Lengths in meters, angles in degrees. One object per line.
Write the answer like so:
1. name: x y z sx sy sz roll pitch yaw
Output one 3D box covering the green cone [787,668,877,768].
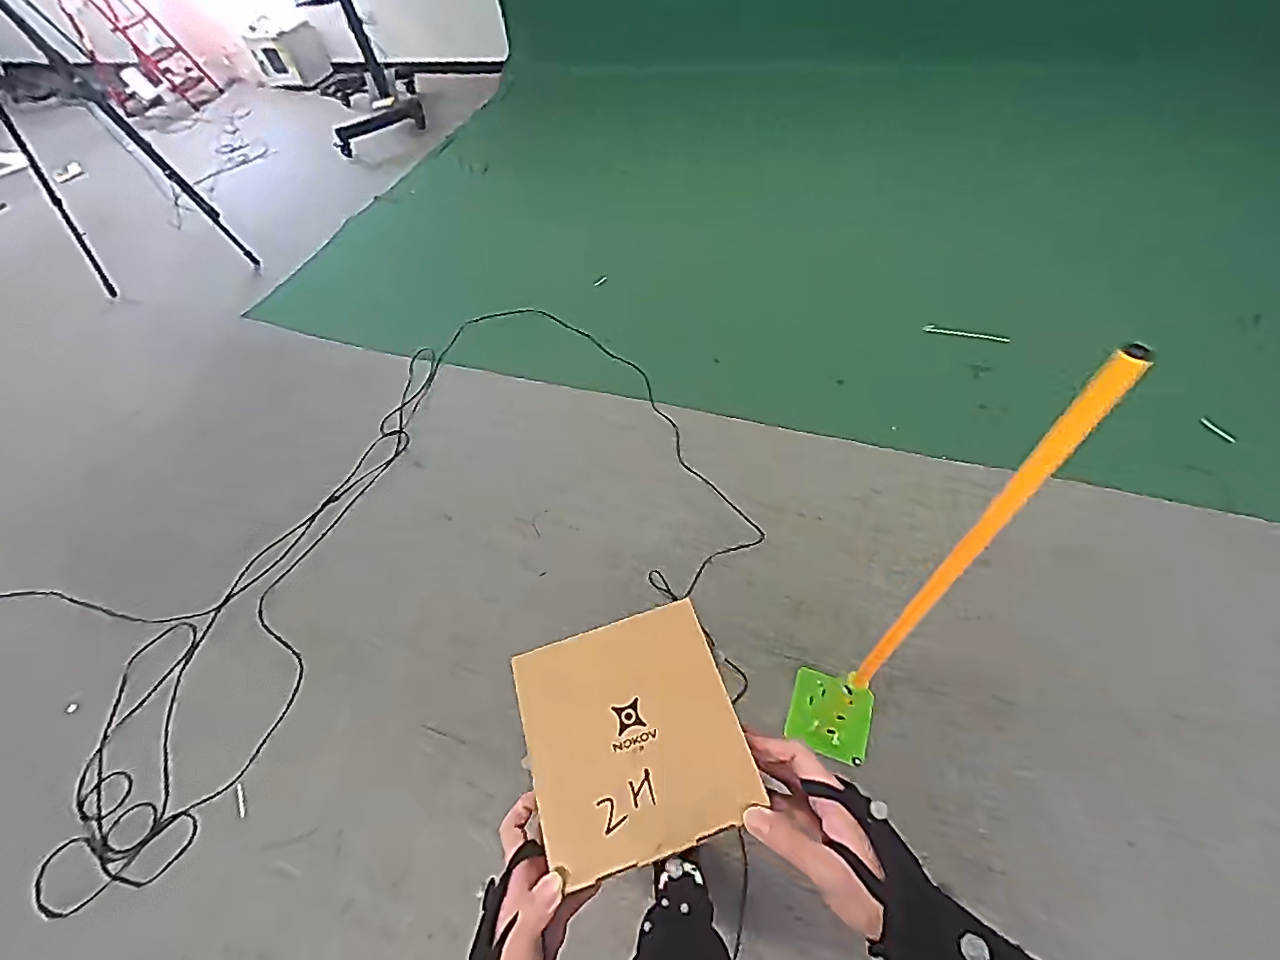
1. green cone: 0.478 0.512 1.263 0.202 0.368 0.200 14 57 18
